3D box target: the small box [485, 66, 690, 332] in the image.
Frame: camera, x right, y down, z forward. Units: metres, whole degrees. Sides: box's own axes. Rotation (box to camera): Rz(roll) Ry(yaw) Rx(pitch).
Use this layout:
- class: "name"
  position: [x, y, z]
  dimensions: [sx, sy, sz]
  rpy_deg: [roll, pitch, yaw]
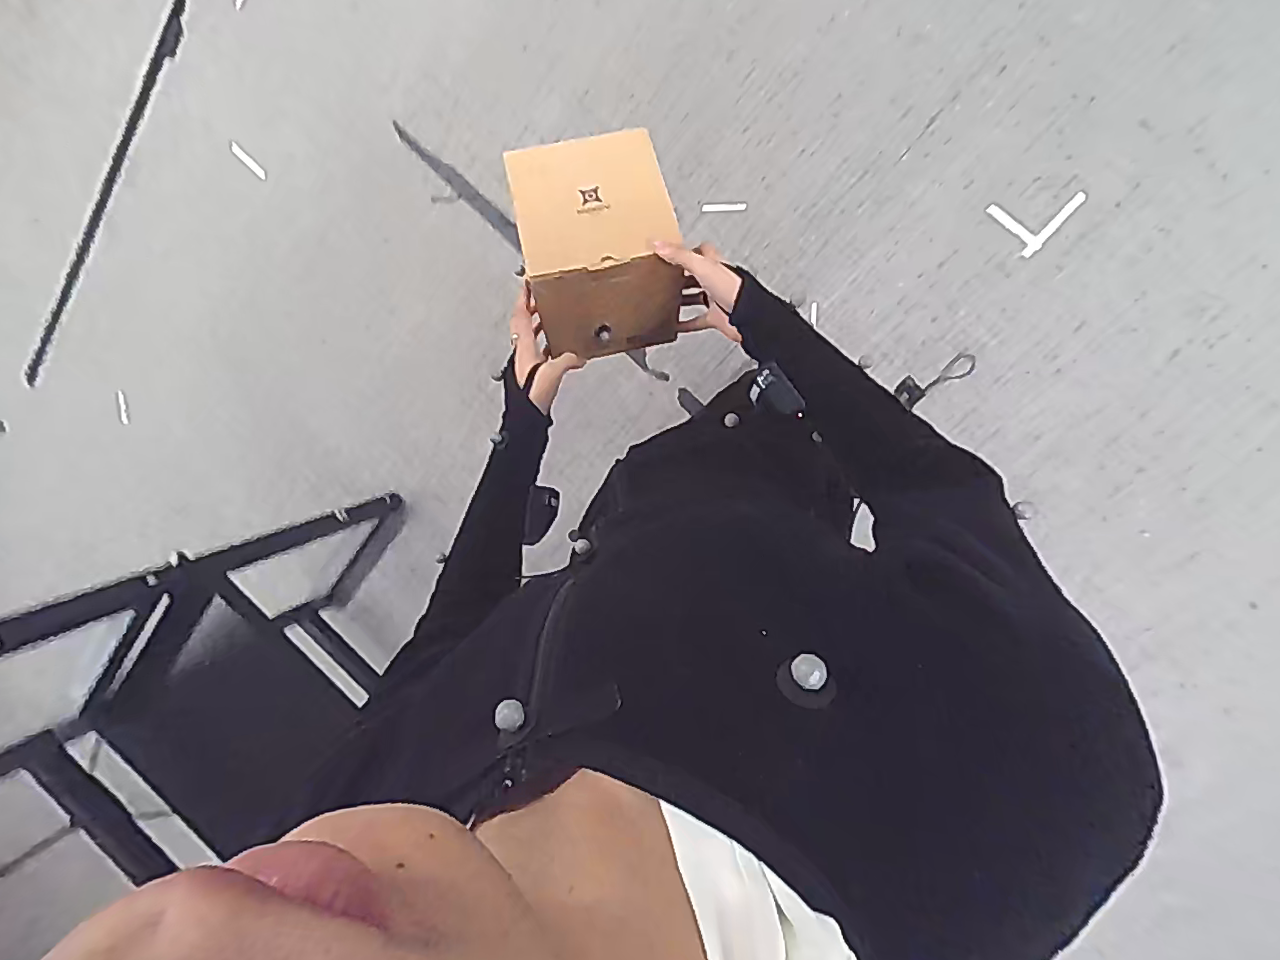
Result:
- class: "small box"
  position: [-0.055, -0.289, 0.579]
  dimensions: [0.168, 0.176, 0.179]
  rpy_deg: [-13, 73, -5]
